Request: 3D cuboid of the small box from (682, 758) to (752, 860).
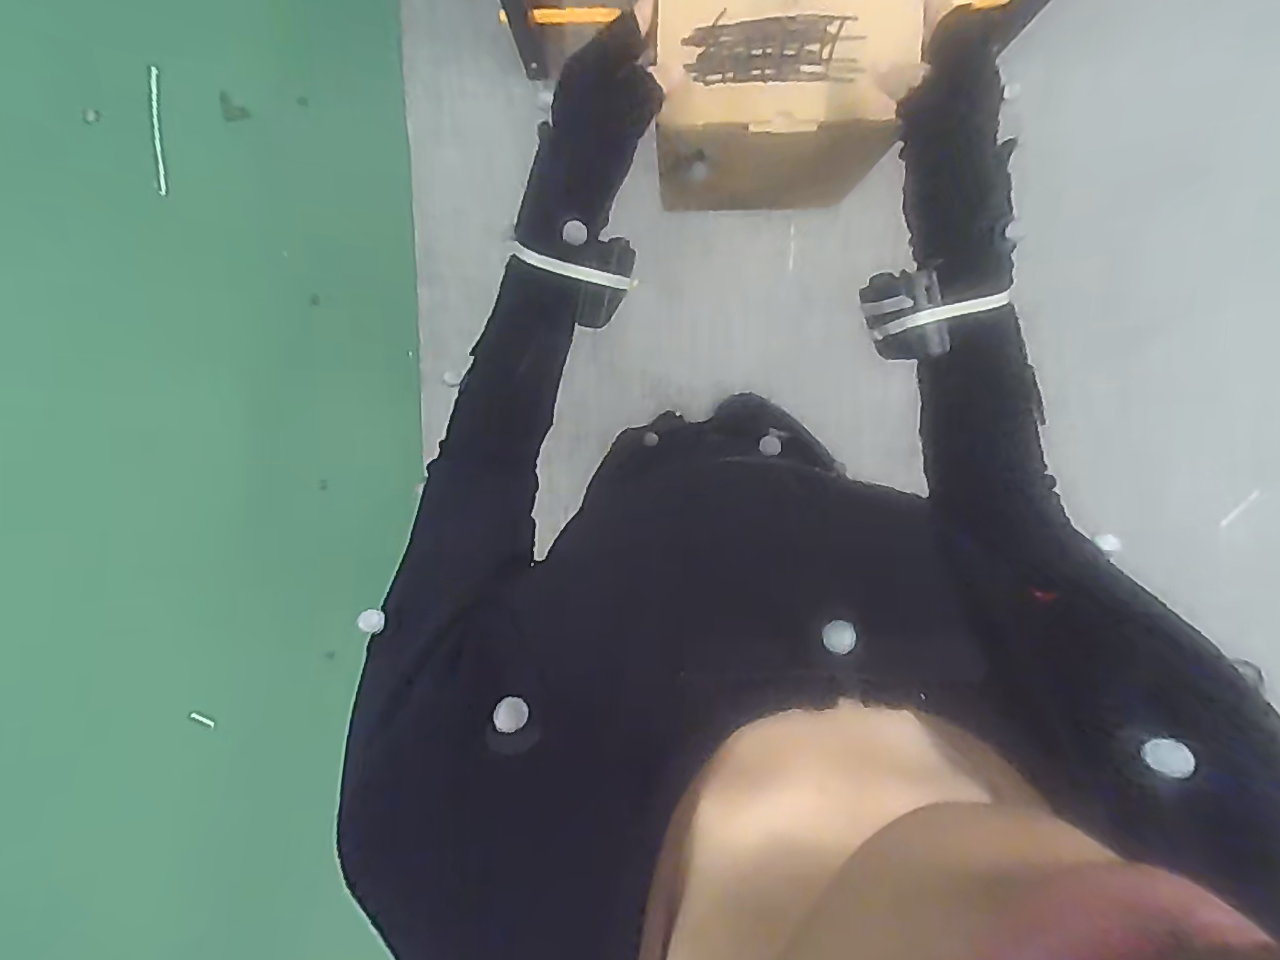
[{"bbox_3d":[0.206,0.891,1.475,0.168,0.176,0.179,-4,94,0],"label":"small box"}]
